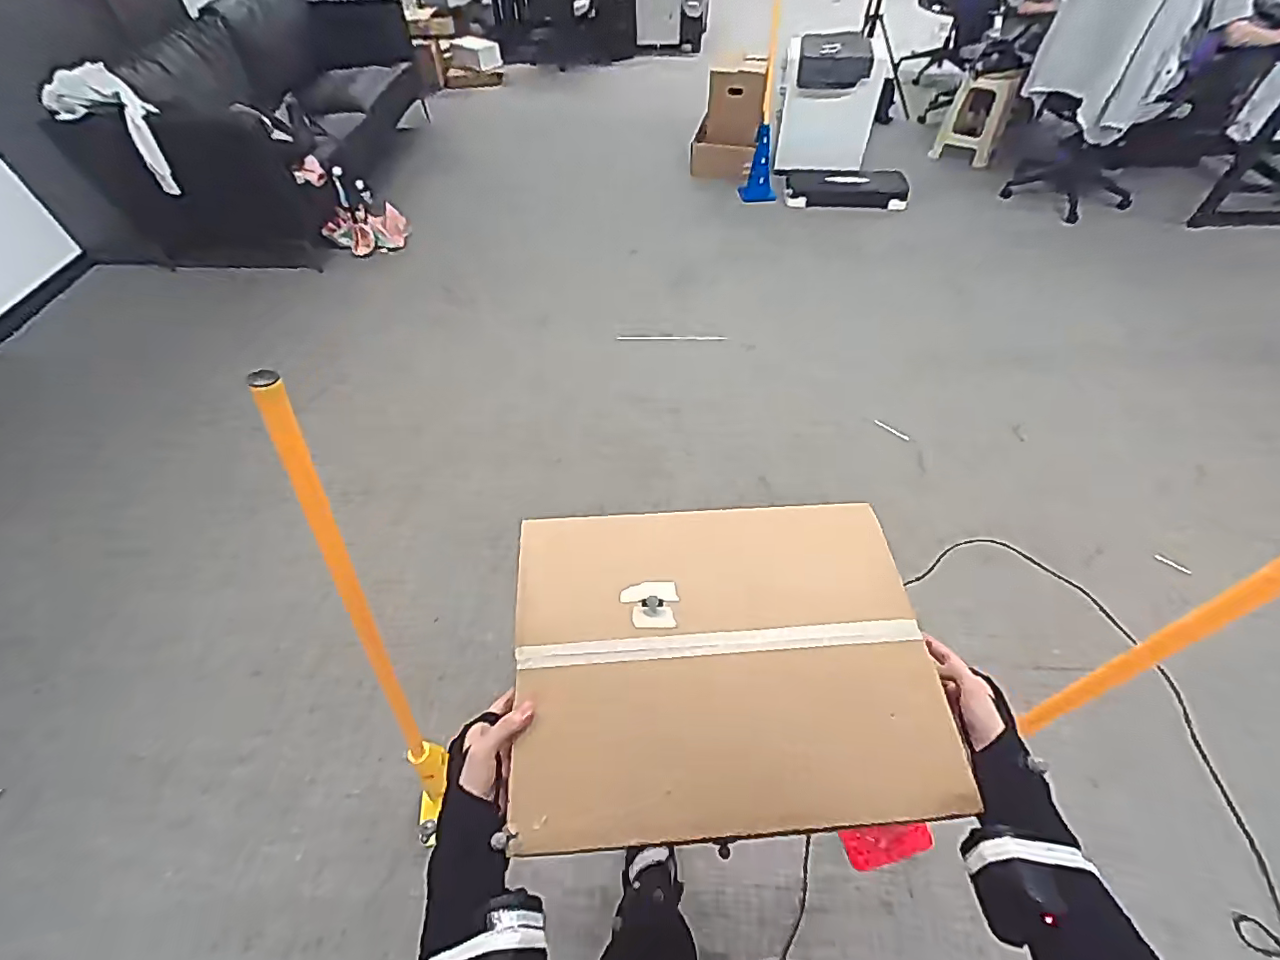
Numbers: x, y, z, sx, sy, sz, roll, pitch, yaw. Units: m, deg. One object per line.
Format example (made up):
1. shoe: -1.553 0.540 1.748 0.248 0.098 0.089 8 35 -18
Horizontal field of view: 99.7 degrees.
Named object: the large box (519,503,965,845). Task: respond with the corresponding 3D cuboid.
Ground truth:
1. large box: 0.083 0.250 0.674 0.408 0.320 0.320 -3 55 -3
